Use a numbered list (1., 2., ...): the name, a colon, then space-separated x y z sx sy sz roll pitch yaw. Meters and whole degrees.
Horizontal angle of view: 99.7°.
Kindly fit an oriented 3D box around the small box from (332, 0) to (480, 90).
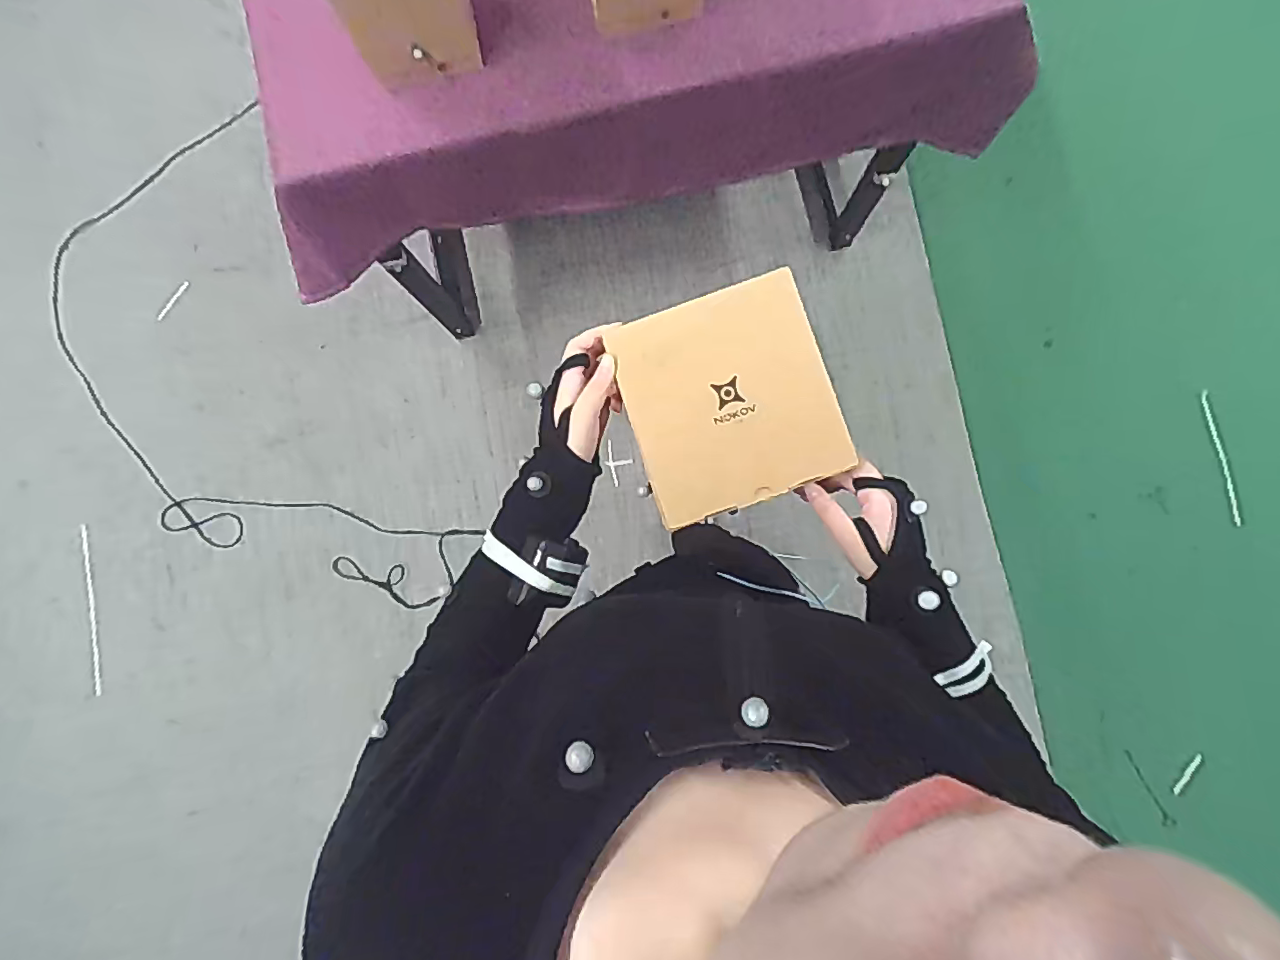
1. small box: -0.349 -0.724 0.788 0.168 0.176 0.179 -12 83 1
